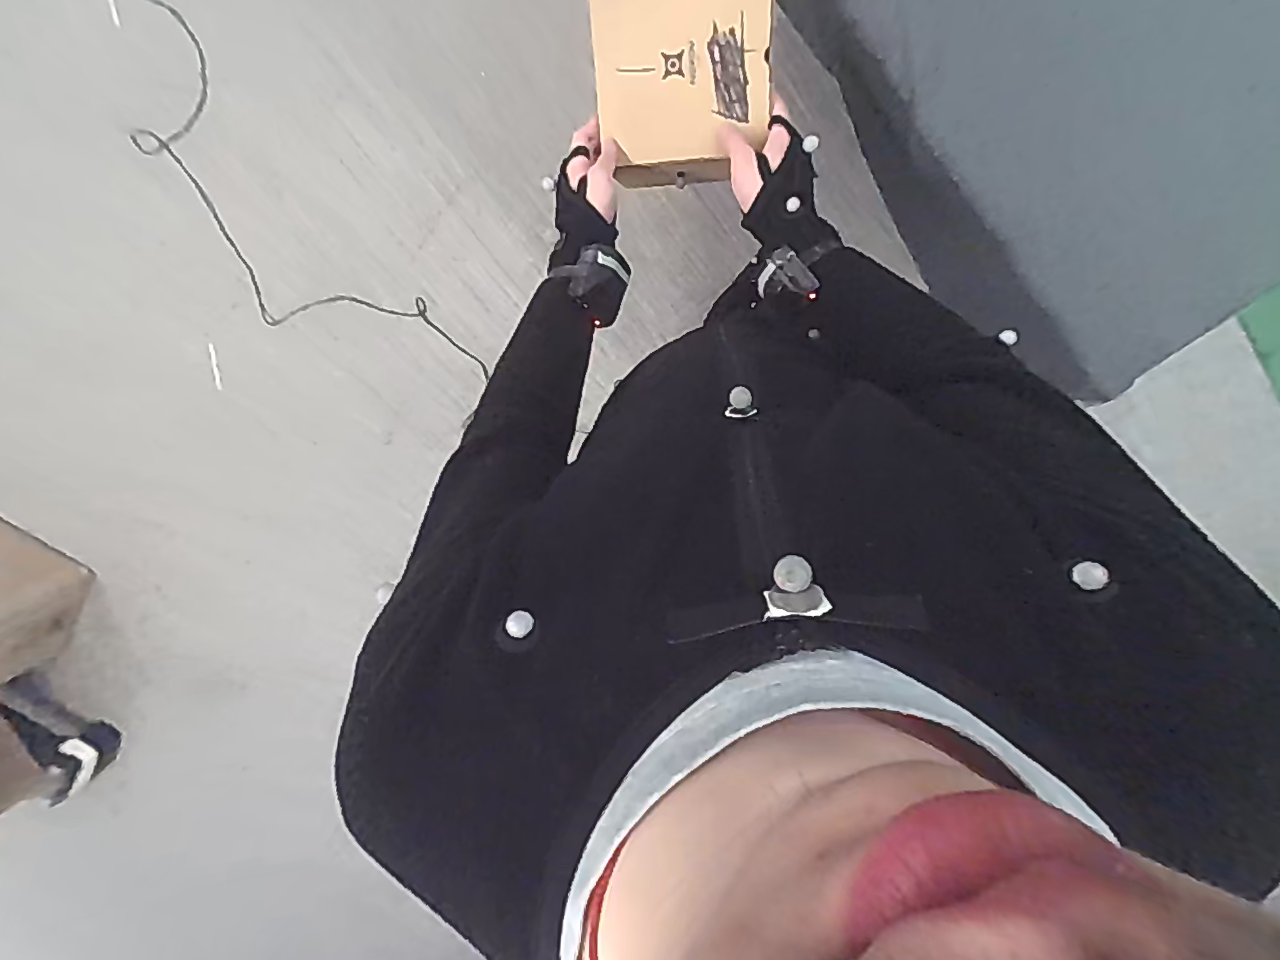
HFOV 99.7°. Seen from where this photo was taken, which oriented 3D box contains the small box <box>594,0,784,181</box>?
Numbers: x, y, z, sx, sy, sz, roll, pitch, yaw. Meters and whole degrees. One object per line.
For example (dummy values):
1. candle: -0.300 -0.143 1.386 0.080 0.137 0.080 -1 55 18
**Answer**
1. small box: 0.053 -0.431 0.584 0.179 0.176 0.168 -1 111 7
